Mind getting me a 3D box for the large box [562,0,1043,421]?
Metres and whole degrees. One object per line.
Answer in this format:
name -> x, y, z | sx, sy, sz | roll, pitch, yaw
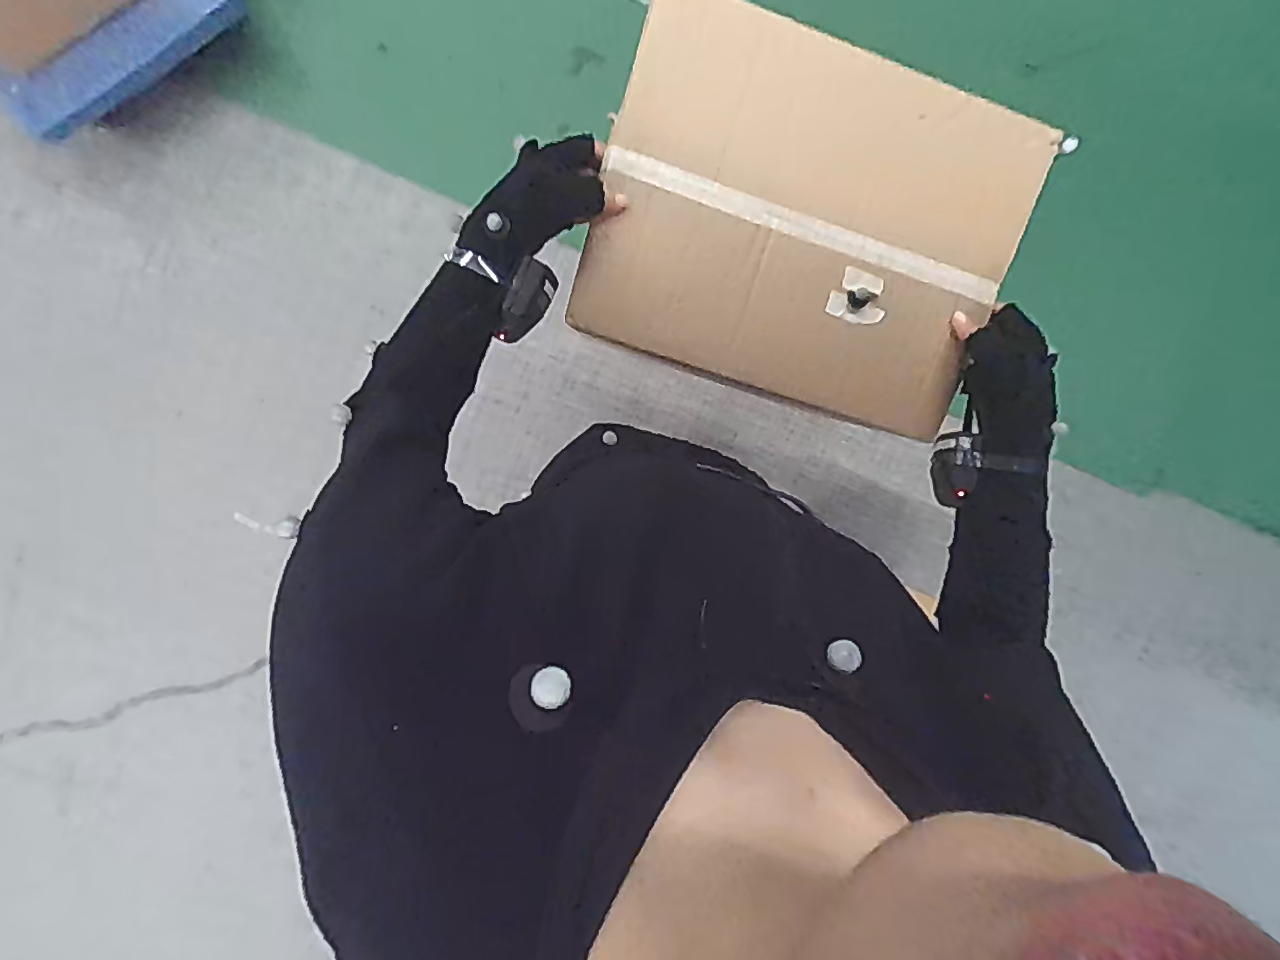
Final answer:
large box -> 0.142, -0.282, 0.660 | 0.408, 0.320, 0.320 | 16, 101, -7
